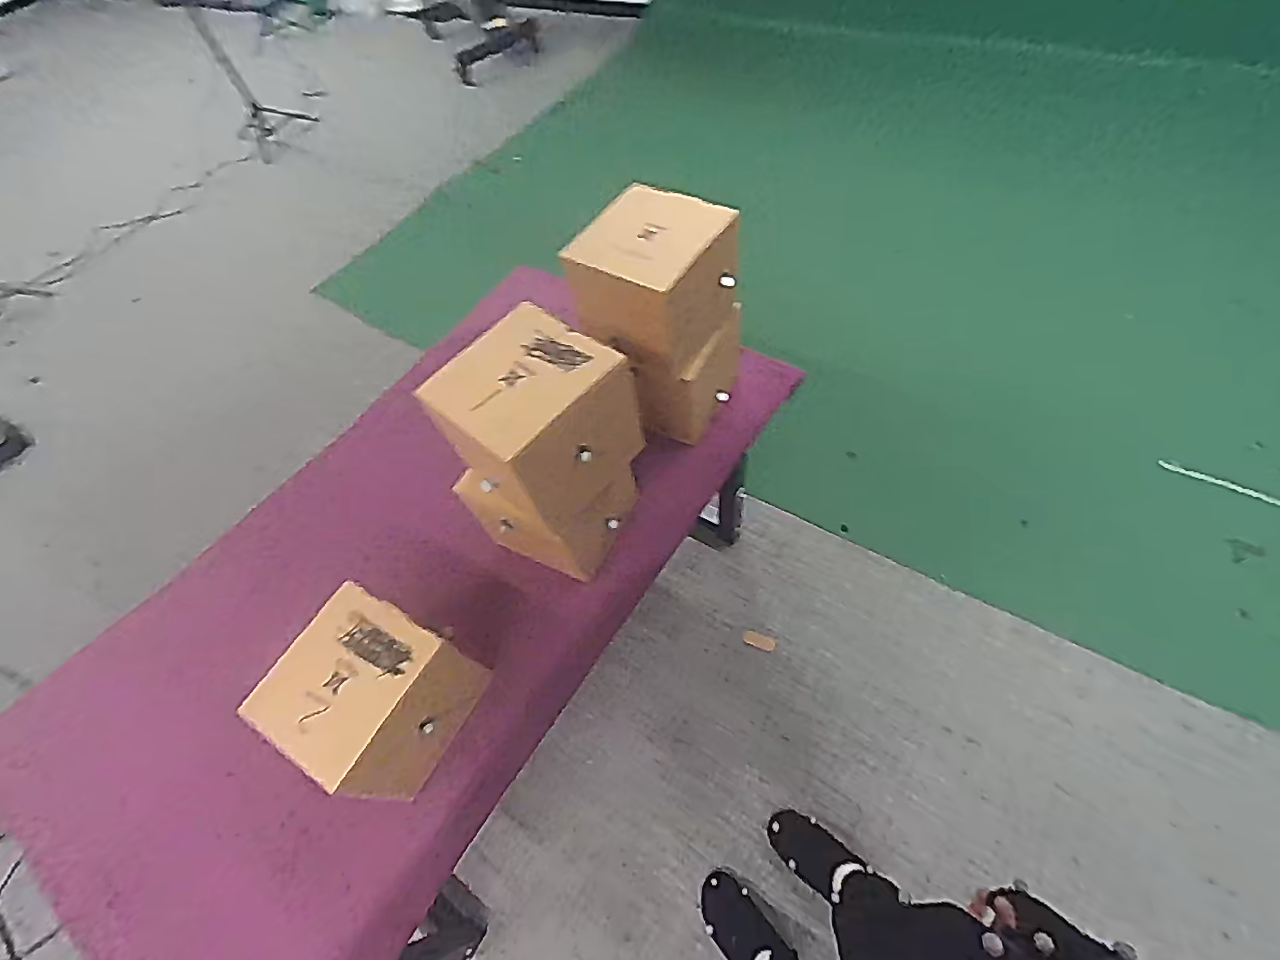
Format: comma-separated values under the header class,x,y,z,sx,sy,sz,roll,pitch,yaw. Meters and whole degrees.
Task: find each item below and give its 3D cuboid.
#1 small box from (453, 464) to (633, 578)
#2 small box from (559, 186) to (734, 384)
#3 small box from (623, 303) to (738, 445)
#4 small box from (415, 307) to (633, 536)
class,x,y,z,sx,sy,sz,roll,pitch,yaw
small box,-0.129,0.022,0.795,0.179,0.176,0.168,20,64,20
small box,0.017,-0.271,0.761,0.168,0.176,0.179,28,67,23
small box,0.050,-0.191,0.900,0.168,0.176,0.179,22,64,21
small box,-0.124,-0.067,0.654,0.168,0.176,0.179,34,69,27
